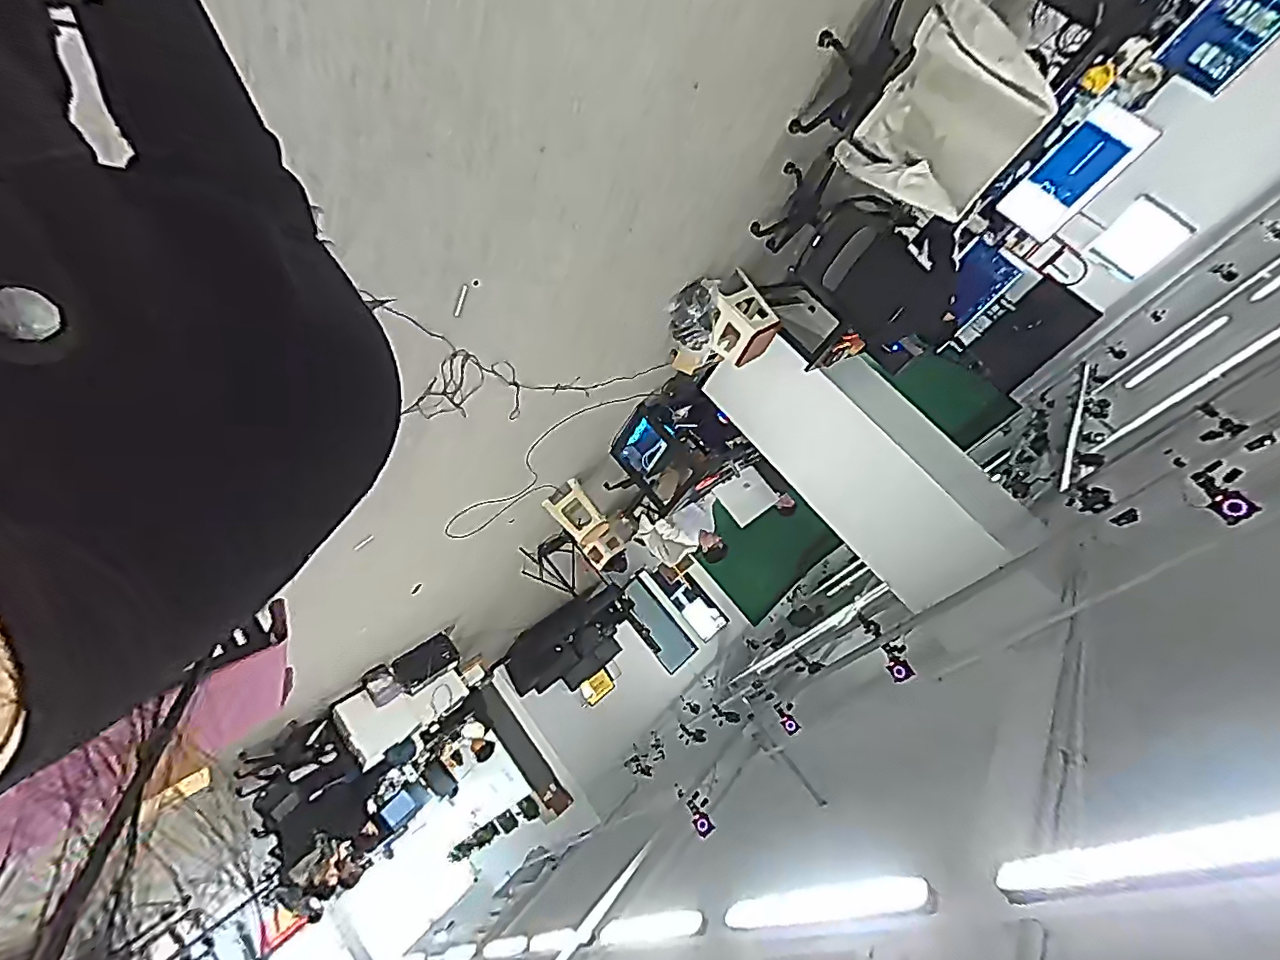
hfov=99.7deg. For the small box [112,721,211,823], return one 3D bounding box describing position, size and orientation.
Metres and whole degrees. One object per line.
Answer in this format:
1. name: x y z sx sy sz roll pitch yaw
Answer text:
1. small box: -1.341 0.814 1.521 0.168 0.176 0.179 -25 158 -48
